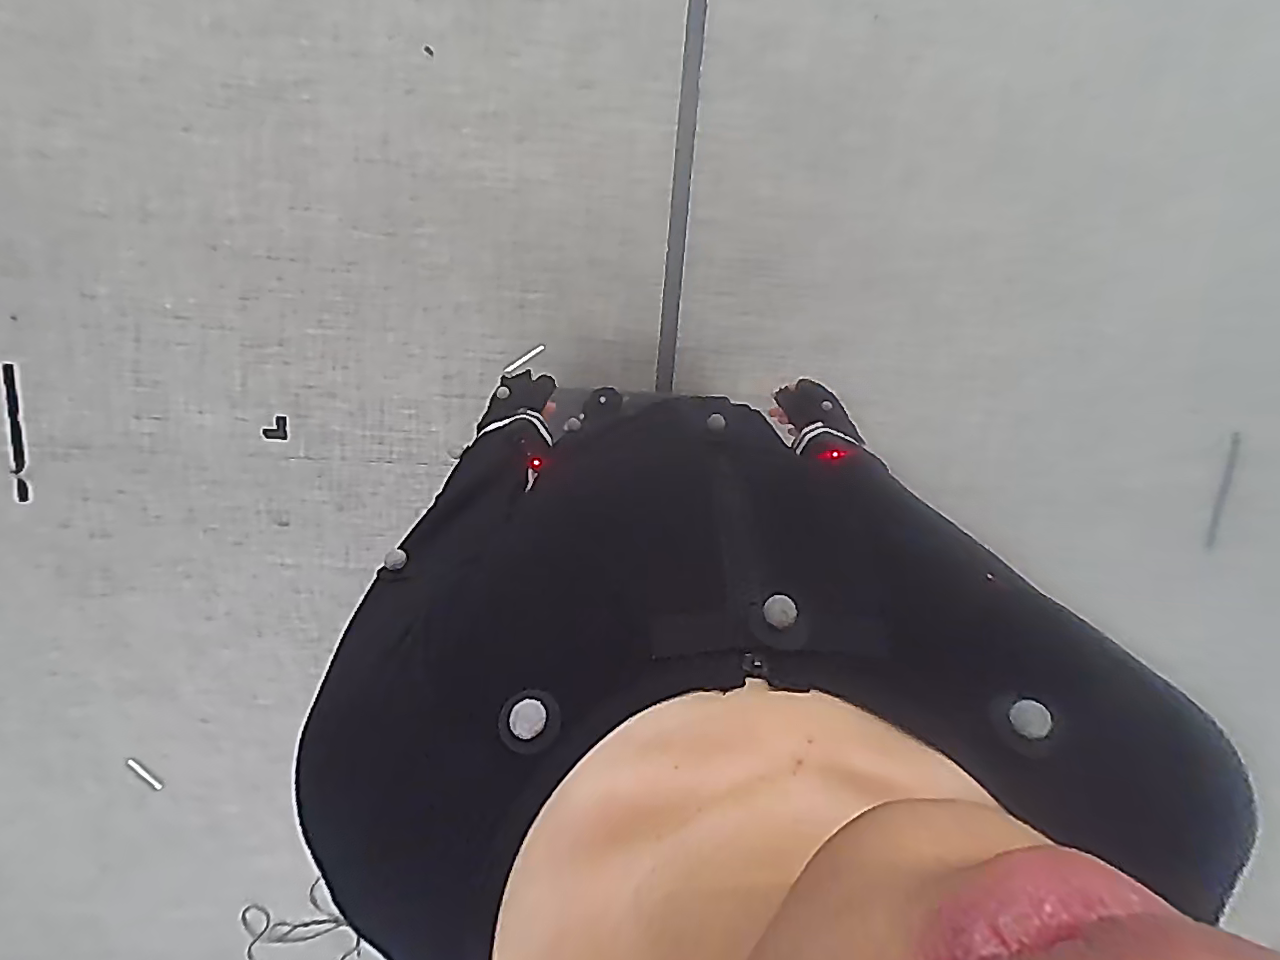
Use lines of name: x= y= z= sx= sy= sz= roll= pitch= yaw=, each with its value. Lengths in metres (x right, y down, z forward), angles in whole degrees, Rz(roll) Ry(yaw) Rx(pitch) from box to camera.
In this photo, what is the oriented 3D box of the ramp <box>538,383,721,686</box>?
ramp: x=-0.054 y=0.217 z=1.611 sx=0.509 sy=0.206 sz=0.991 roll=1 pitch=102 yaw=-4
